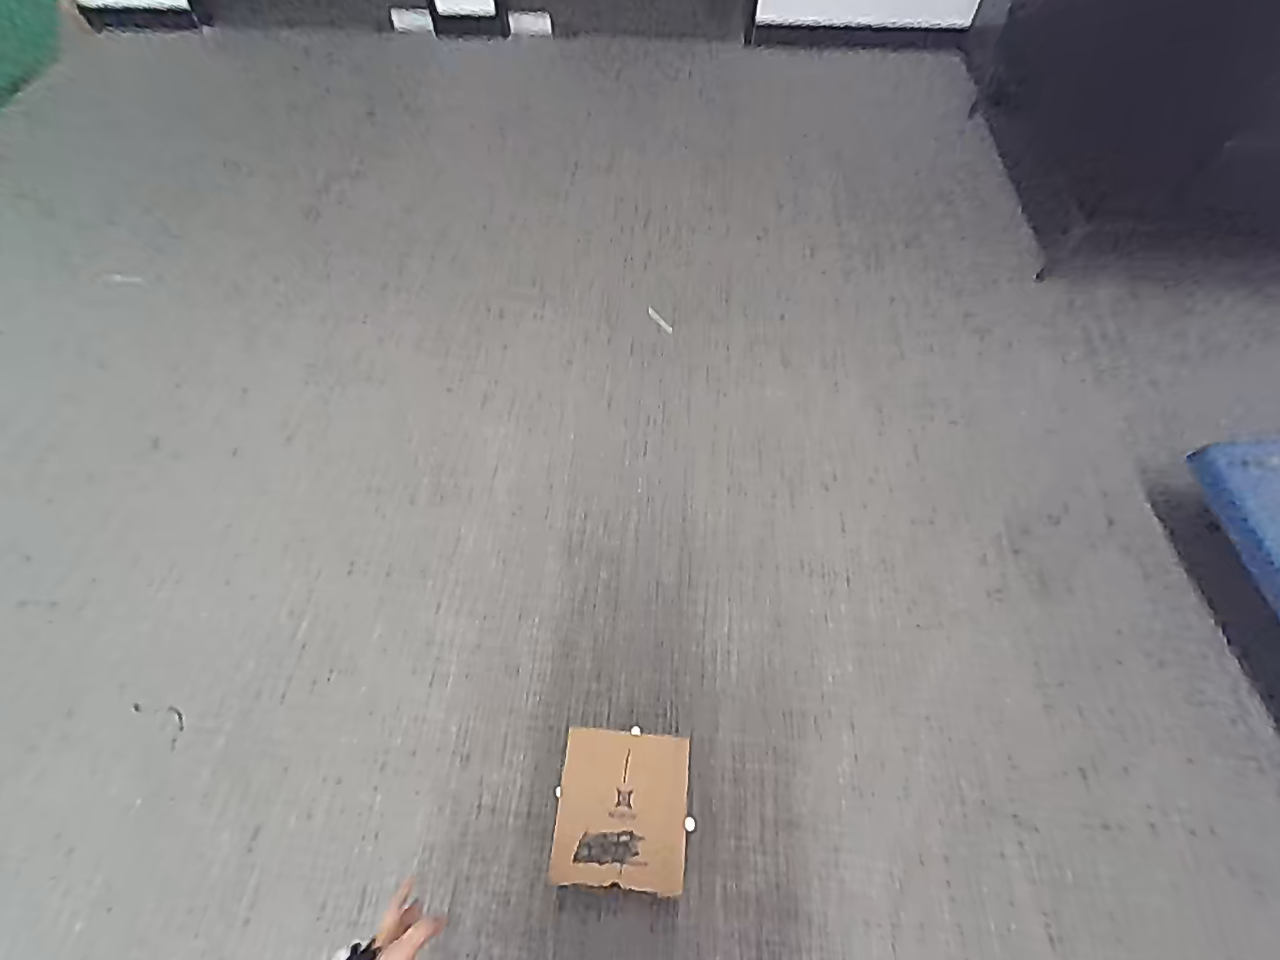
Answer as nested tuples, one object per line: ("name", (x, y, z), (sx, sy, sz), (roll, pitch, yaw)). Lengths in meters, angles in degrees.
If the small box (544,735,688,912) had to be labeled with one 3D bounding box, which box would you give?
("small box", (-0.025, 0.466, 0.749), (0.168, 0.176, 0.179), (5, 59, 3))
